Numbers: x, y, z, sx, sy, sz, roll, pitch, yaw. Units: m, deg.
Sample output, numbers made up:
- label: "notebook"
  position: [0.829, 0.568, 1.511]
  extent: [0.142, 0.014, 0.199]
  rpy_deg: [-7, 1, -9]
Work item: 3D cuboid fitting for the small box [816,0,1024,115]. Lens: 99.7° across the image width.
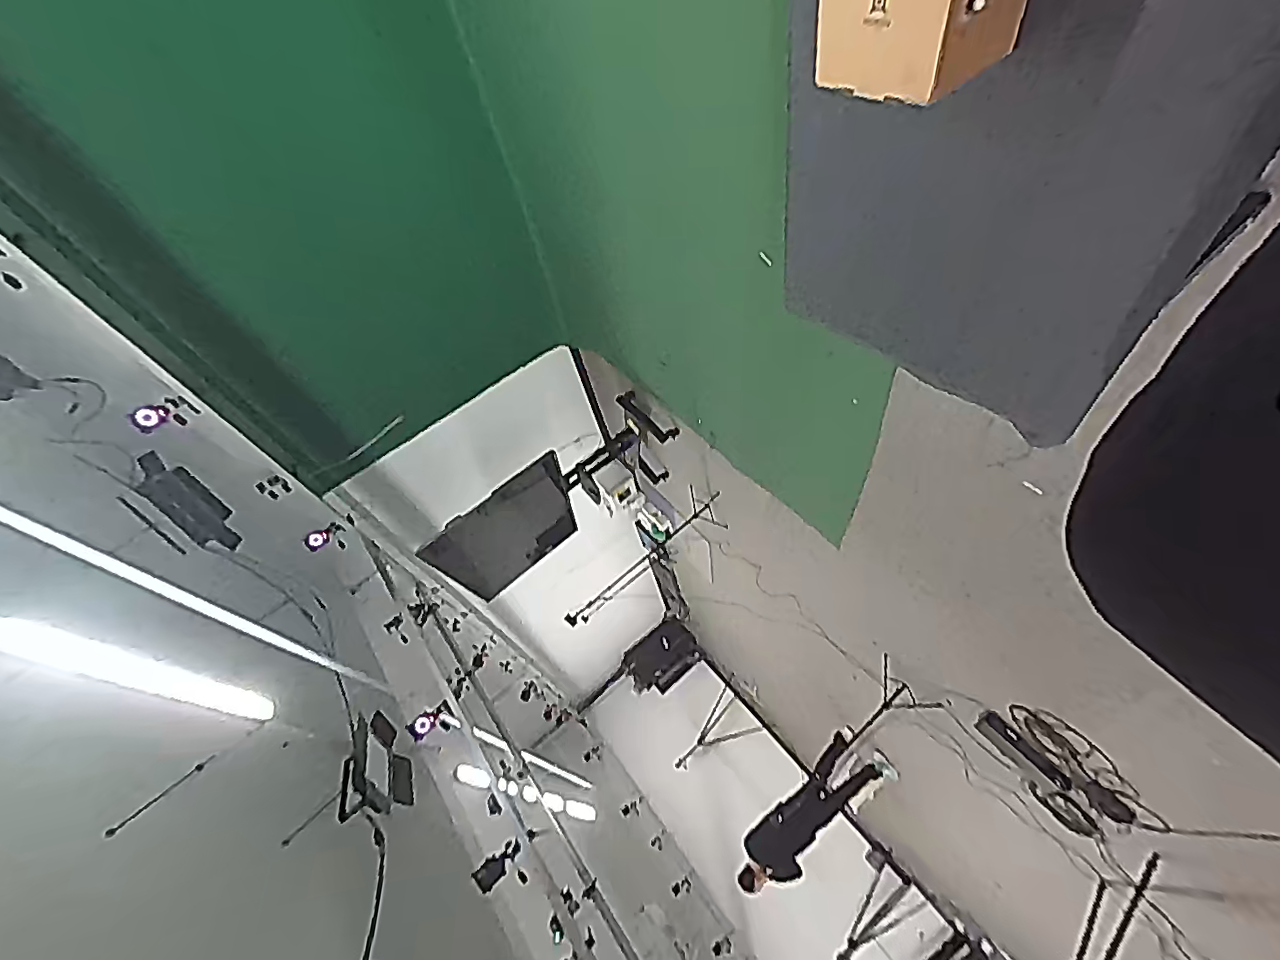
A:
- label: "small box"
  position: [0.329, -0.564, 0.624]
  extent: [0.168, 0.176, 0.179]
  rpy_deg: [41, 160, 34]
